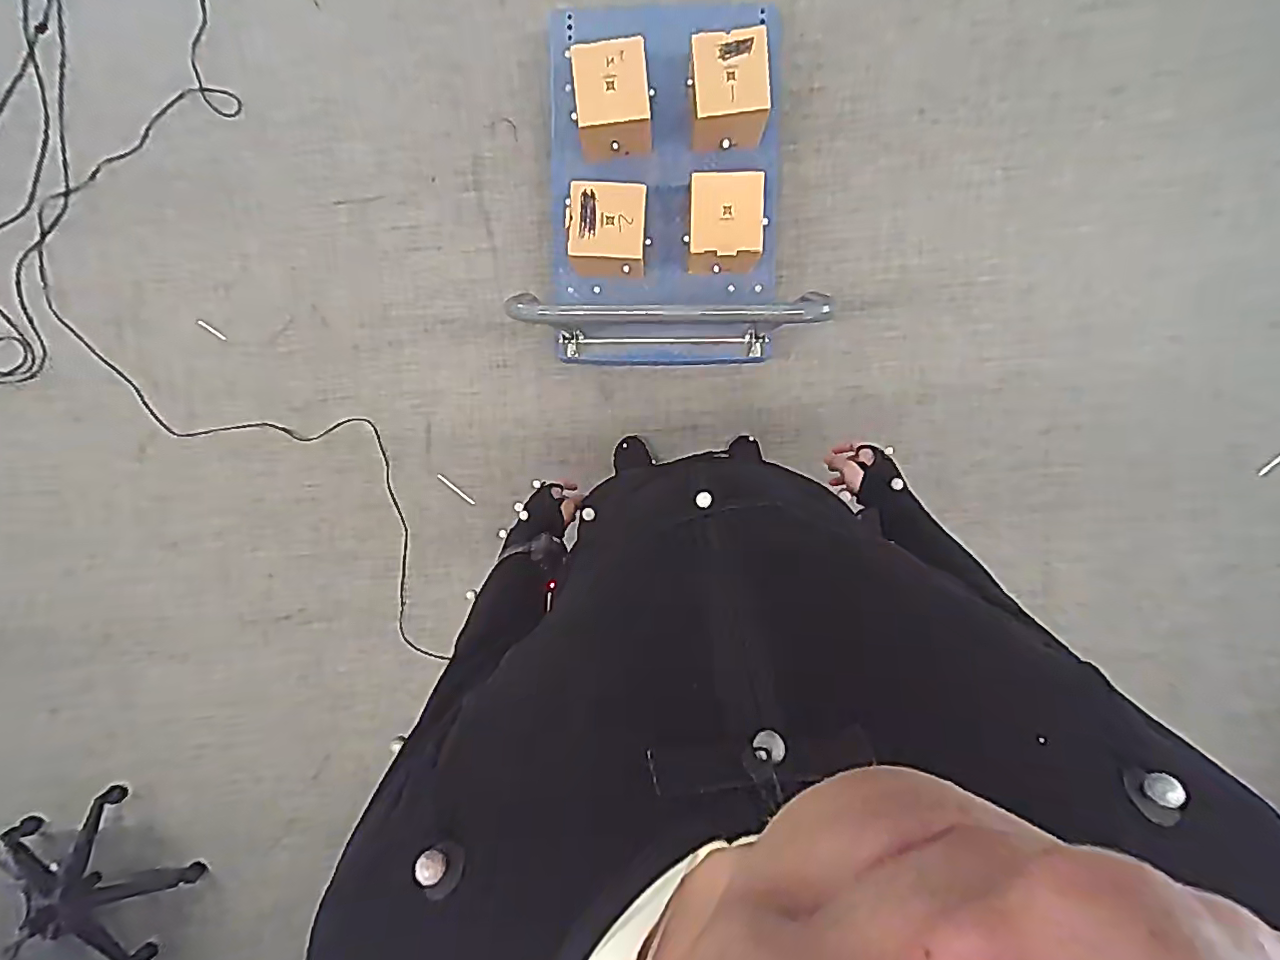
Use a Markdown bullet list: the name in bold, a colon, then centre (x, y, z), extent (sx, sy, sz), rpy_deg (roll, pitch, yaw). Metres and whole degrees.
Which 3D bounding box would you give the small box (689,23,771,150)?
- **small box**: centre (0.205, -0.916, 1.272), extent (0.168, 0.176, 0.179), rpy_deg (-5, 97, 3)

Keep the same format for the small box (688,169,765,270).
- **small box**: centre (0.202, -0.622, 1.304), extent (0.168, 0.176, 0.179), rpy_deg (0, 97, 2)

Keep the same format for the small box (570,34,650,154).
- **small box**: centre (-0.064, -0.901, 1.283), extent (0.168, 0.176, 0.179), rpy_deg (-6, 96, 2)
